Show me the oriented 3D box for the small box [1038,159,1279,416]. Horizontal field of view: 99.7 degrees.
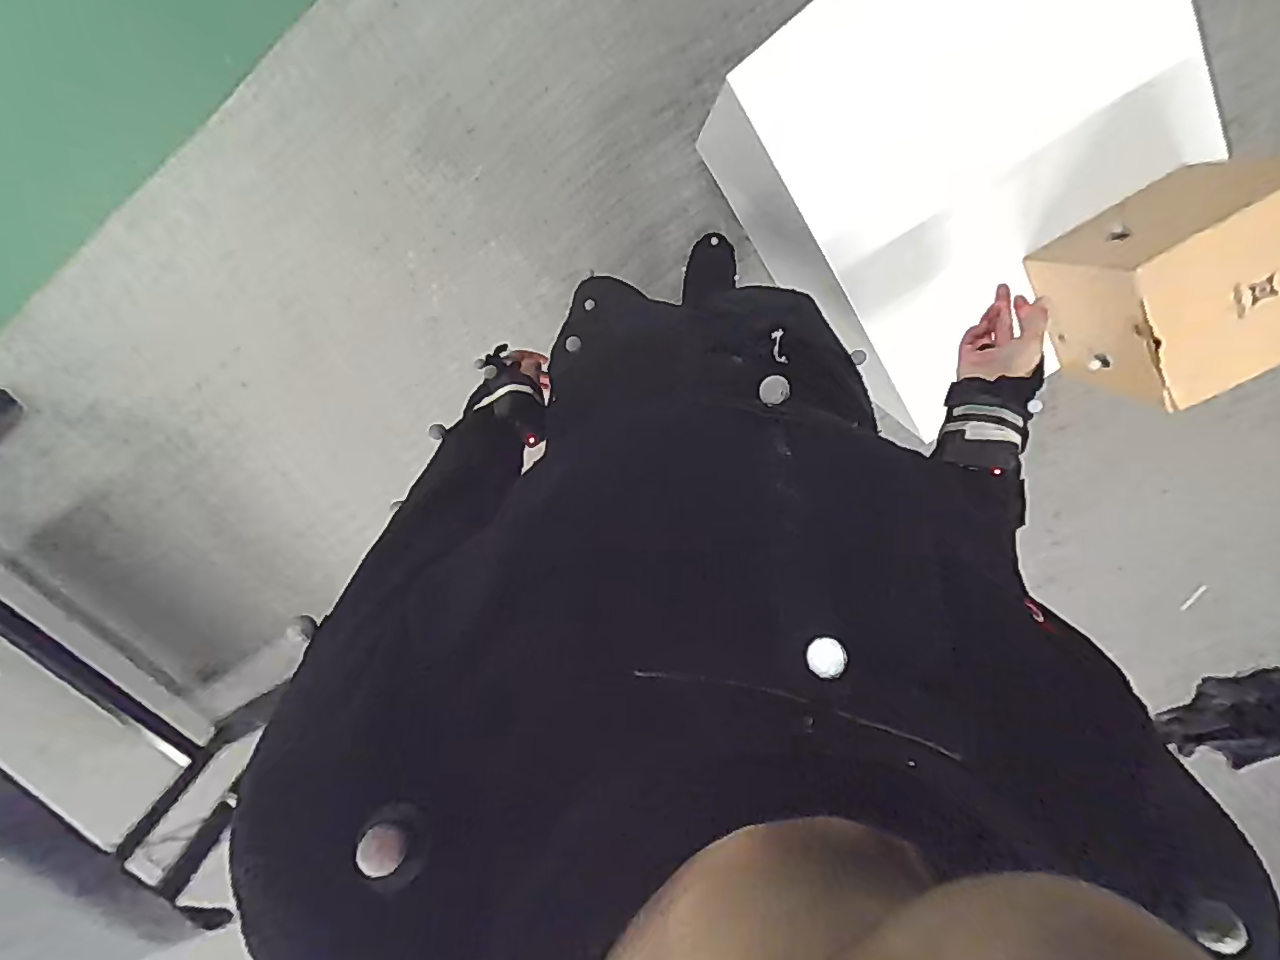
[{"bbox_3d":[0.557,-0.198,0.559,0.179,0.176,0.168,-31,111,15],"label":"small box"}]
